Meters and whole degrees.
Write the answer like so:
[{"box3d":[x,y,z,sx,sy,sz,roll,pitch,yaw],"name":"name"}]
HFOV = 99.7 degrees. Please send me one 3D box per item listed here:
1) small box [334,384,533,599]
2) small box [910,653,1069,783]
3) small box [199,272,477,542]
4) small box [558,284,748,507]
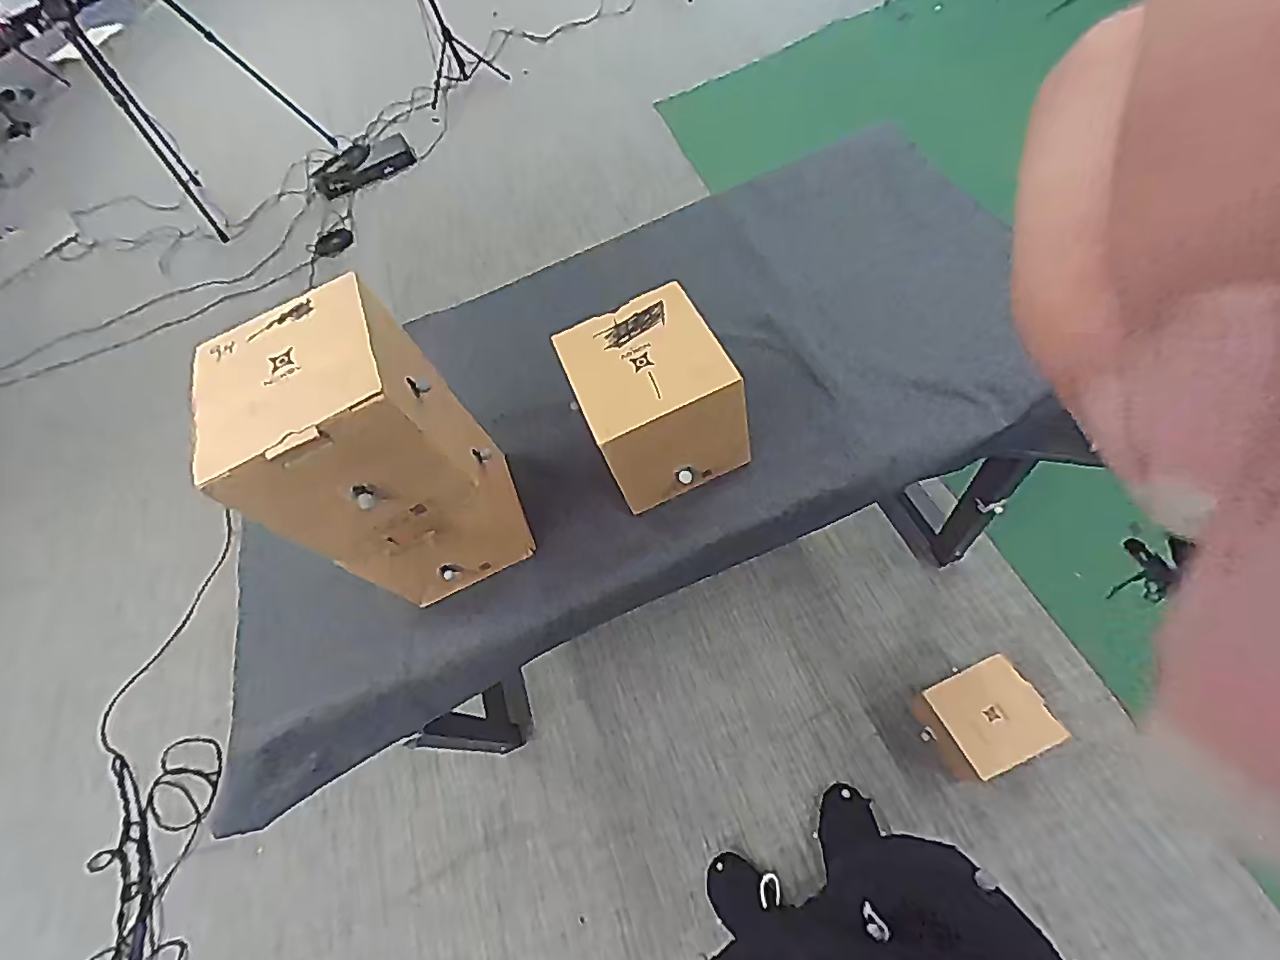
[{"box3d":[-0.255,0.020,0.673,0.168,0.176,0.179,-26,59,-1],"name":"small box"},{"box3d":[0.657,0.463,1.046,0.179,0.176,0.168,-27,57,-1],"name":"small box"},{"box3d":[-0.284,-0.058,0.532,0.168,0.176,0.179,-27,59,-2],"name":"small box"},{"box3d":[0.020,-0.097,0.665,0.168,0.176,0.179,-25,58,0],"name":"small box"}]
